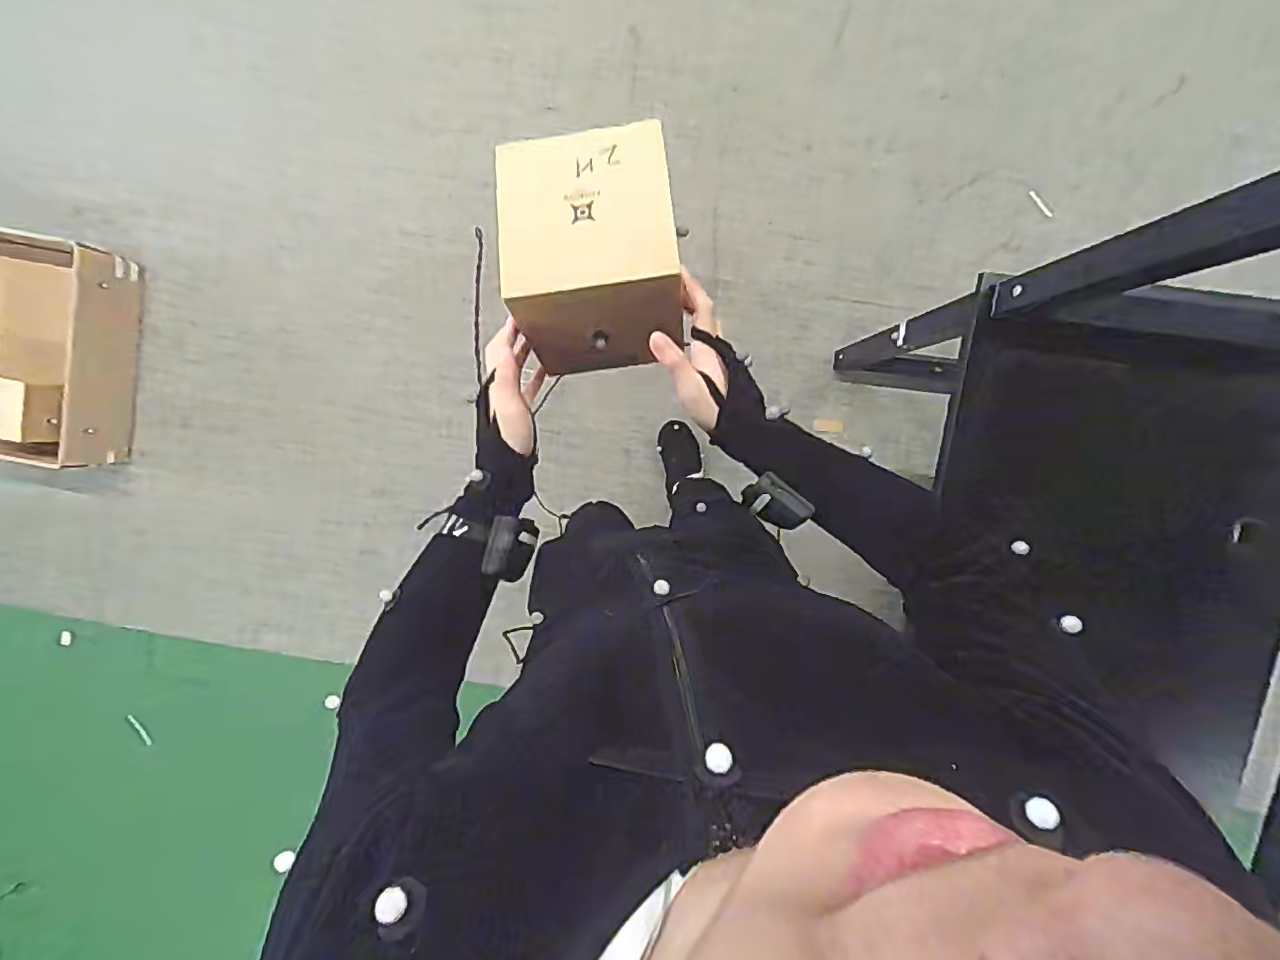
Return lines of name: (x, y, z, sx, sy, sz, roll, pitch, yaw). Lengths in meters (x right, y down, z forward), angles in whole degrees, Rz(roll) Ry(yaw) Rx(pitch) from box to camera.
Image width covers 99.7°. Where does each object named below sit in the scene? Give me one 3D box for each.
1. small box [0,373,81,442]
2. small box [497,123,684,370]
small box: (-1.727, -0.205, 1.508, 0.179, 0.176, 0.168, 11, 96, 1)
small box: (-0.044, -0.231, 0.581, 0.168, 0.176, 0.179, -7, 74, 4)
